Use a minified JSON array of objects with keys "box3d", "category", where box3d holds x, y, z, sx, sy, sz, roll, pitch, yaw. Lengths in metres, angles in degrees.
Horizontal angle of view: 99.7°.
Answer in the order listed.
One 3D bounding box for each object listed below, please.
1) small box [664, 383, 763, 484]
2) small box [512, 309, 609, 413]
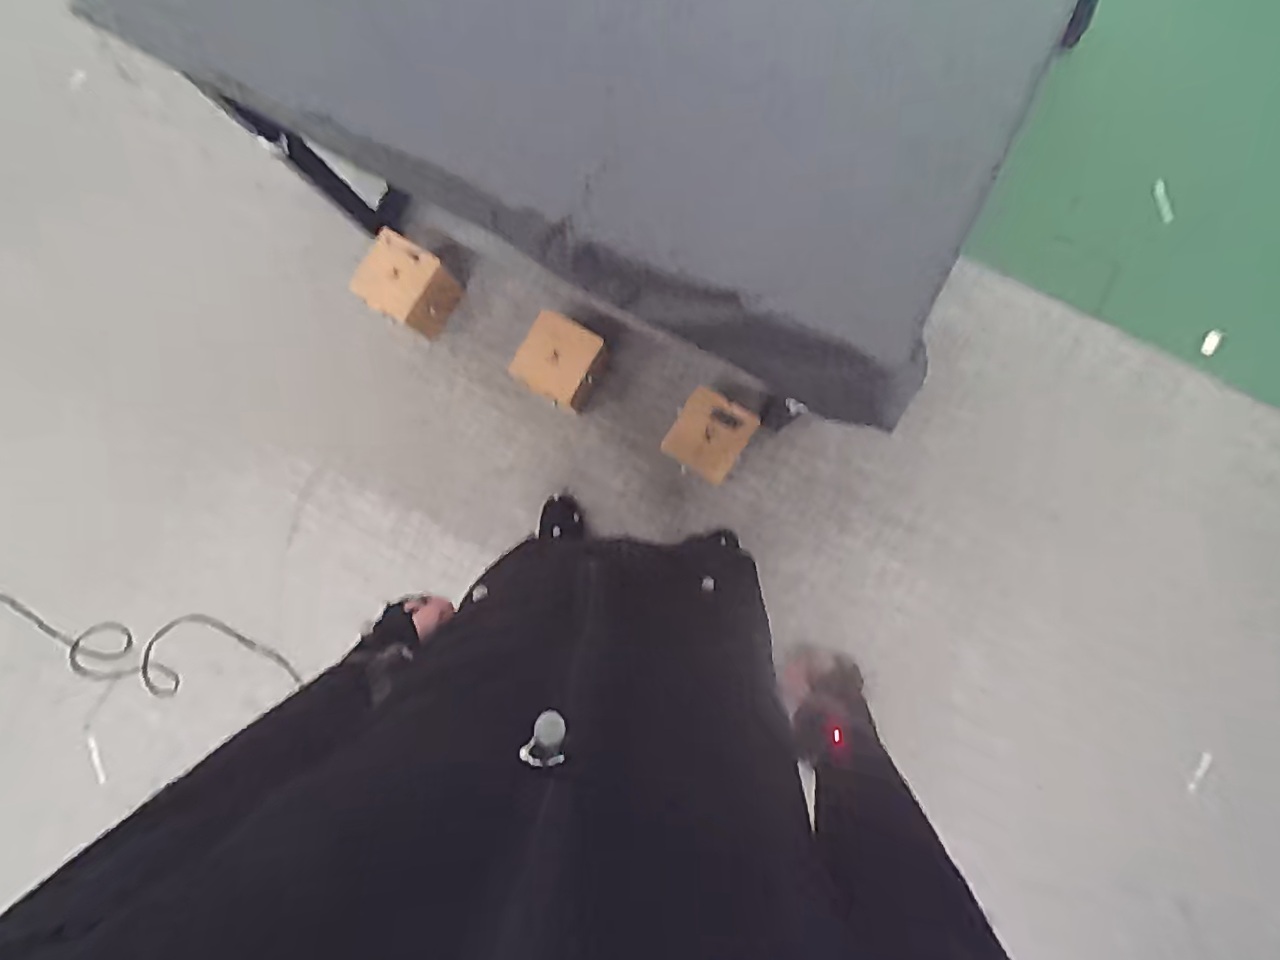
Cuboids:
[{"box3d":[0.170,-0.106,1.308,0.168,0.176,0.179,33,91,5],"category":"small box"},{"box3d":[-0.188,-0.286,1.346,0.168,0.176,0.179,29,88,3],"category":"small box"}]
